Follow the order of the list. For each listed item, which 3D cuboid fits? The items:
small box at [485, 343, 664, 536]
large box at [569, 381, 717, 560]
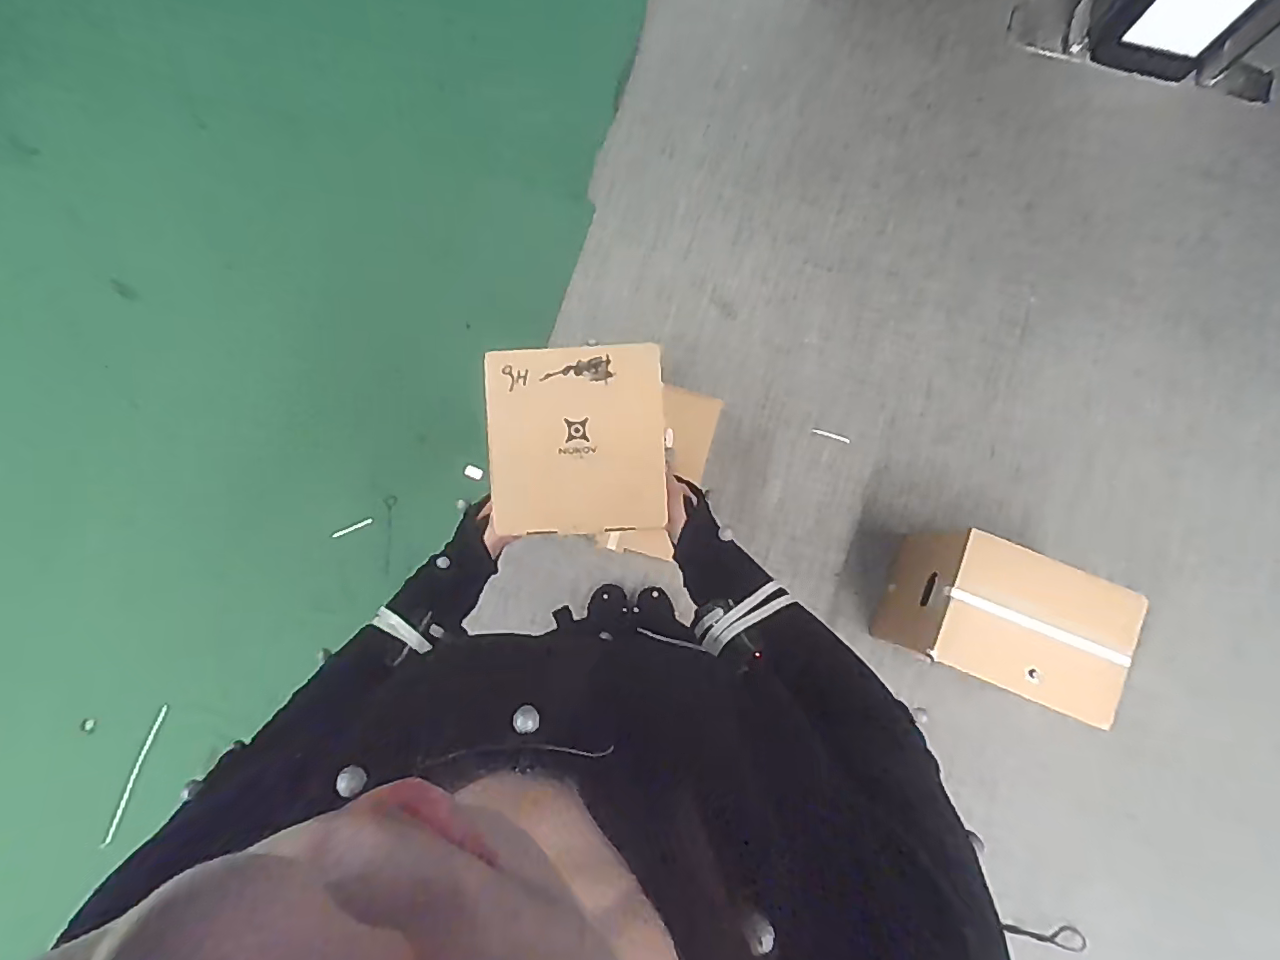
[{"bbox_3d":[-0.058,-0.041,0.582,0.168,0.176,0.179,-3,92,1],"label":"small box"},{"bbox_3d":[-0.011,-0.026,1.405,0.320,0.320,0.408,17,81,3],"label":"large box"}]
